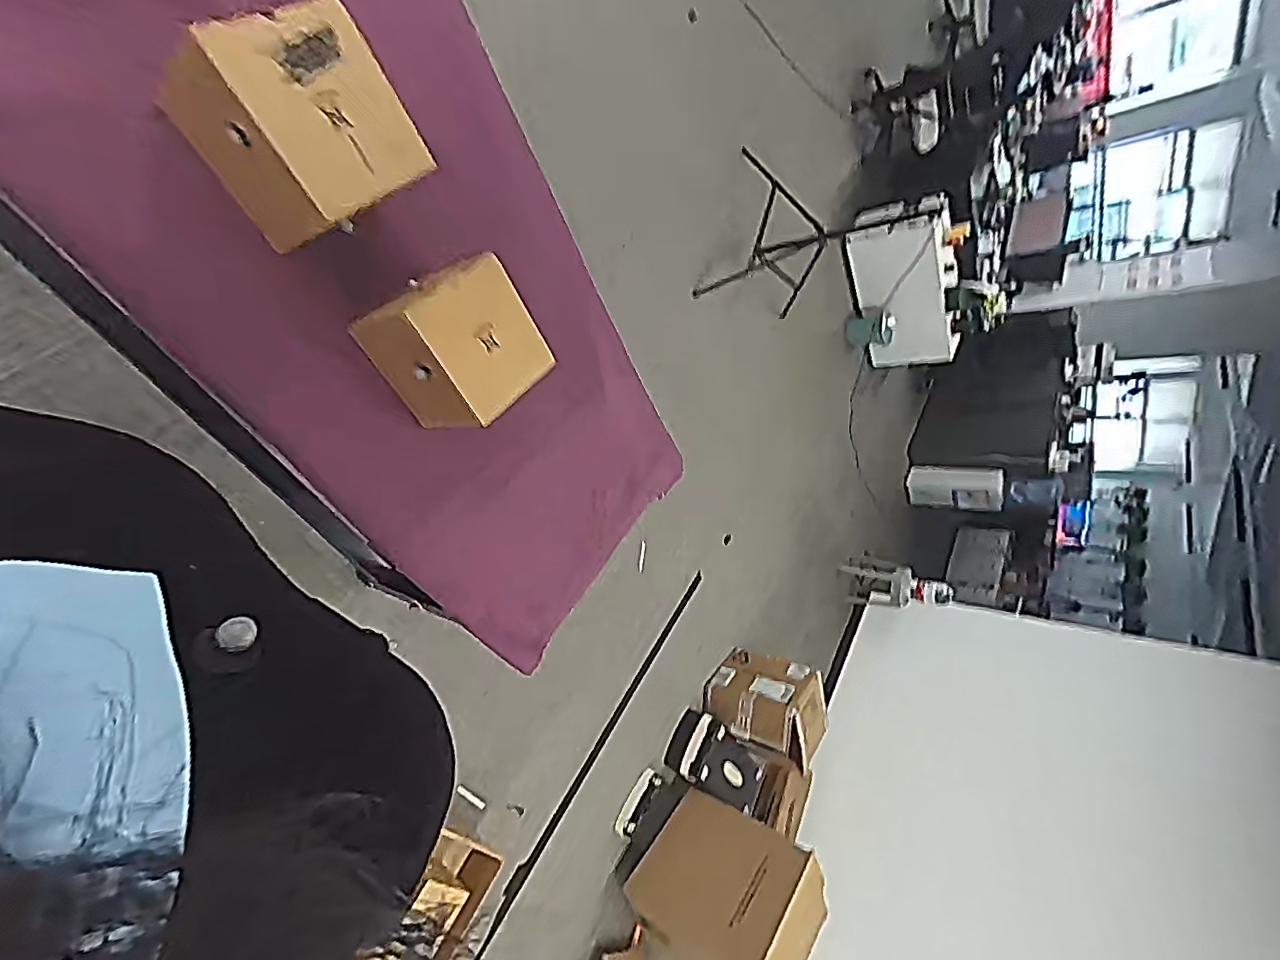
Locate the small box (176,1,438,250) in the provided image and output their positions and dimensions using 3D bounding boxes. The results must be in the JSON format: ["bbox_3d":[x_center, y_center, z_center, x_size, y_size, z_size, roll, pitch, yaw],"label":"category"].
[{"bbox_3d":[-0.385,-0.399,0.631,0.168,0.176,0.179,-52,130,-32],"label":"small box"}]

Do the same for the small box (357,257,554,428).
[{"bbox_3d":[-0.267,-0.194,0.790,0.168,0.176,0.179,-52,128,-33],"label":"small box"}]
